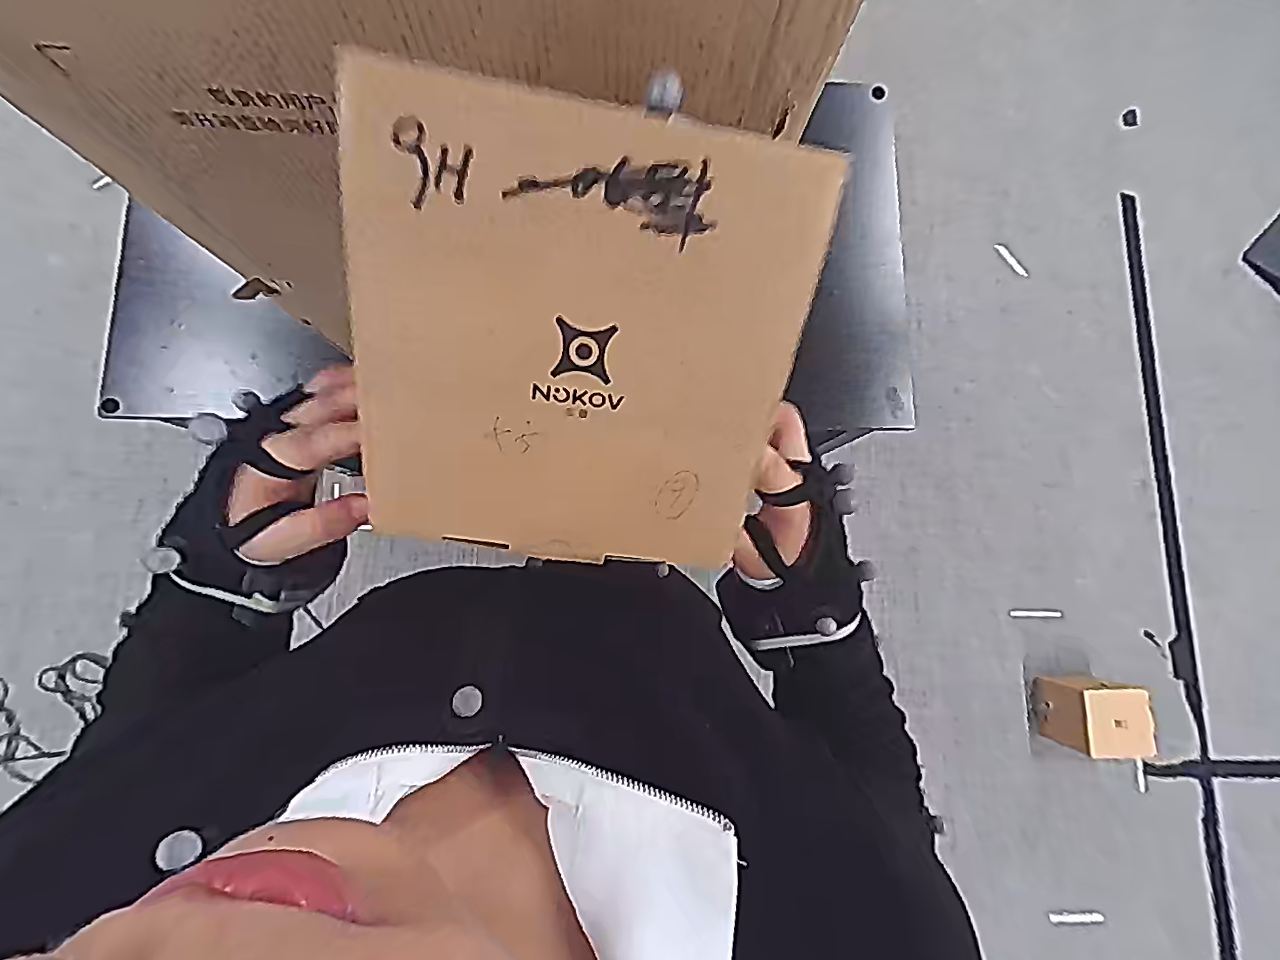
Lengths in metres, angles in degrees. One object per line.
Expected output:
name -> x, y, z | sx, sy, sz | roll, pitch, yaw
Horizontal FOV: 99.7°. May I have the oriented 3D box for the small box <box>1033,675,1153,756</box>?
small box -> 1.205, 0.624, 1.450 | 0.179, 0.176, 0.168 | 0, 81, -2
